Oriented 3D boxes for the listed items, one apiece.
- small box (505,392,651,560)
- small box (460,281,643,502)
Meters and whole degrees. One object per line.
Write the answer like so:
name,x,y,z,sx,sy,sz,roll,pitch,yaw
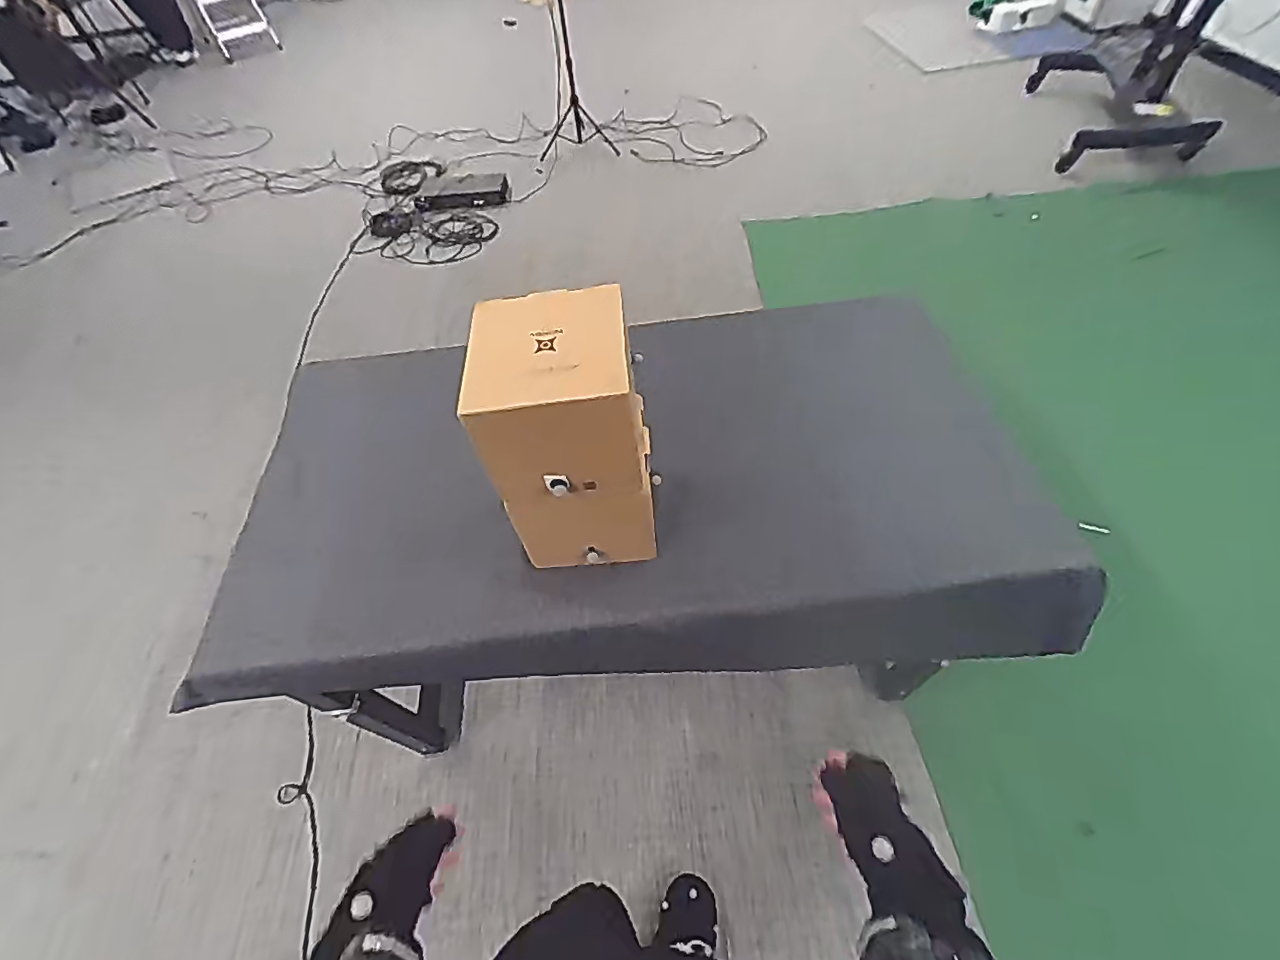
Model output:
small box,-0.076,-0.001,0.753,0.179,0.176,0.168,-5,54,1
small box,-0.090,-0.098,0.623,0.168,0.176,0.179,-8,55,1
